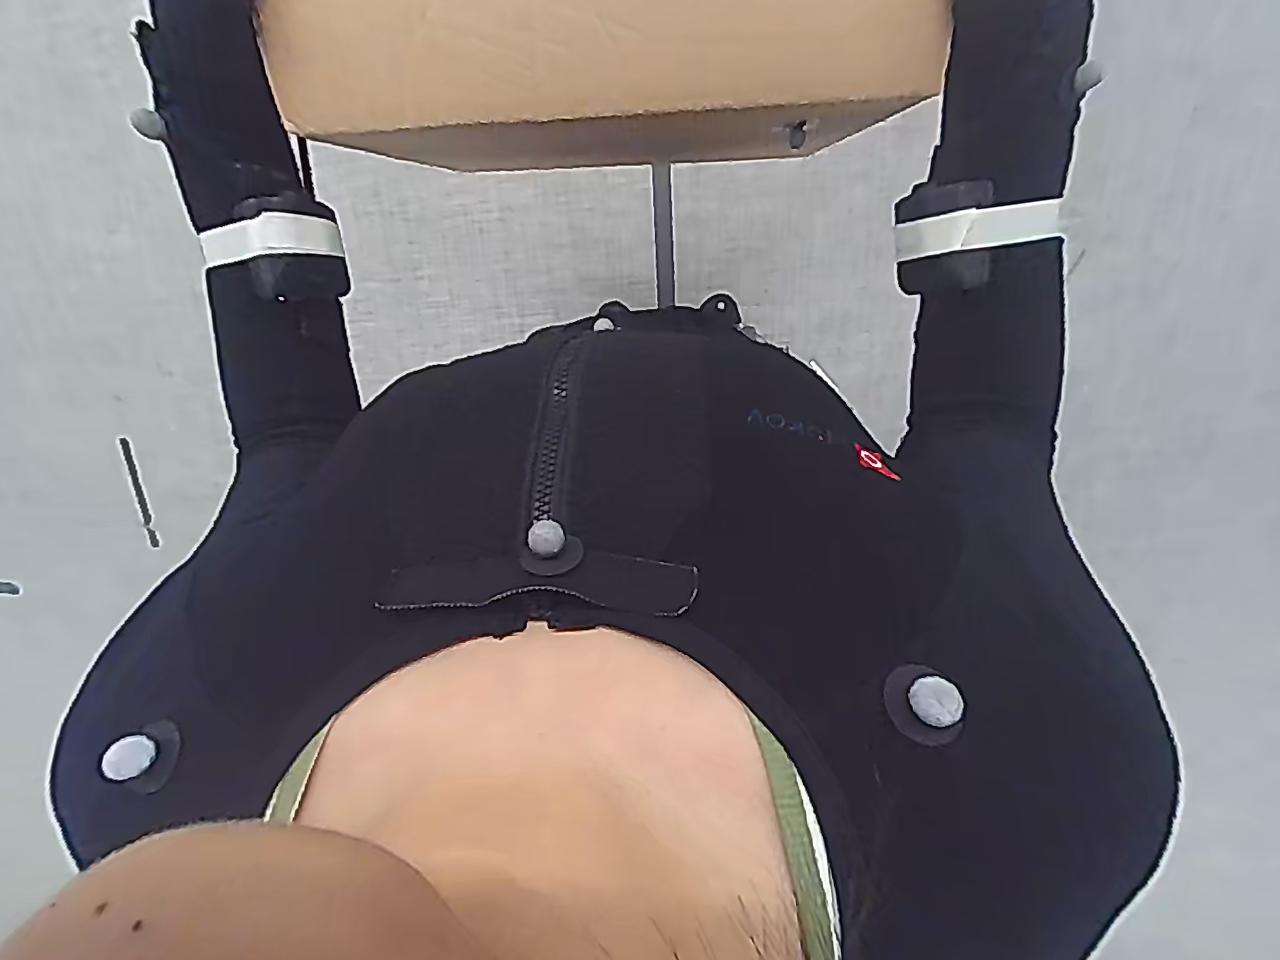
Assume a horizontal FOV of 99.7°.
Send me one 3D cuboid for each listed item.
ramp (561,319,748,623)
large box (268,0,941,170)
[{"bbox_3d":[0.074,0.040,1.620,0.509,0.206,0.991,-4,107,5],"label":"ramp"},{"bbox_3d":[-0.022,-0.431,0.411,0.408,0.320,0.320,-1,115,3],"label":"large box"}]
